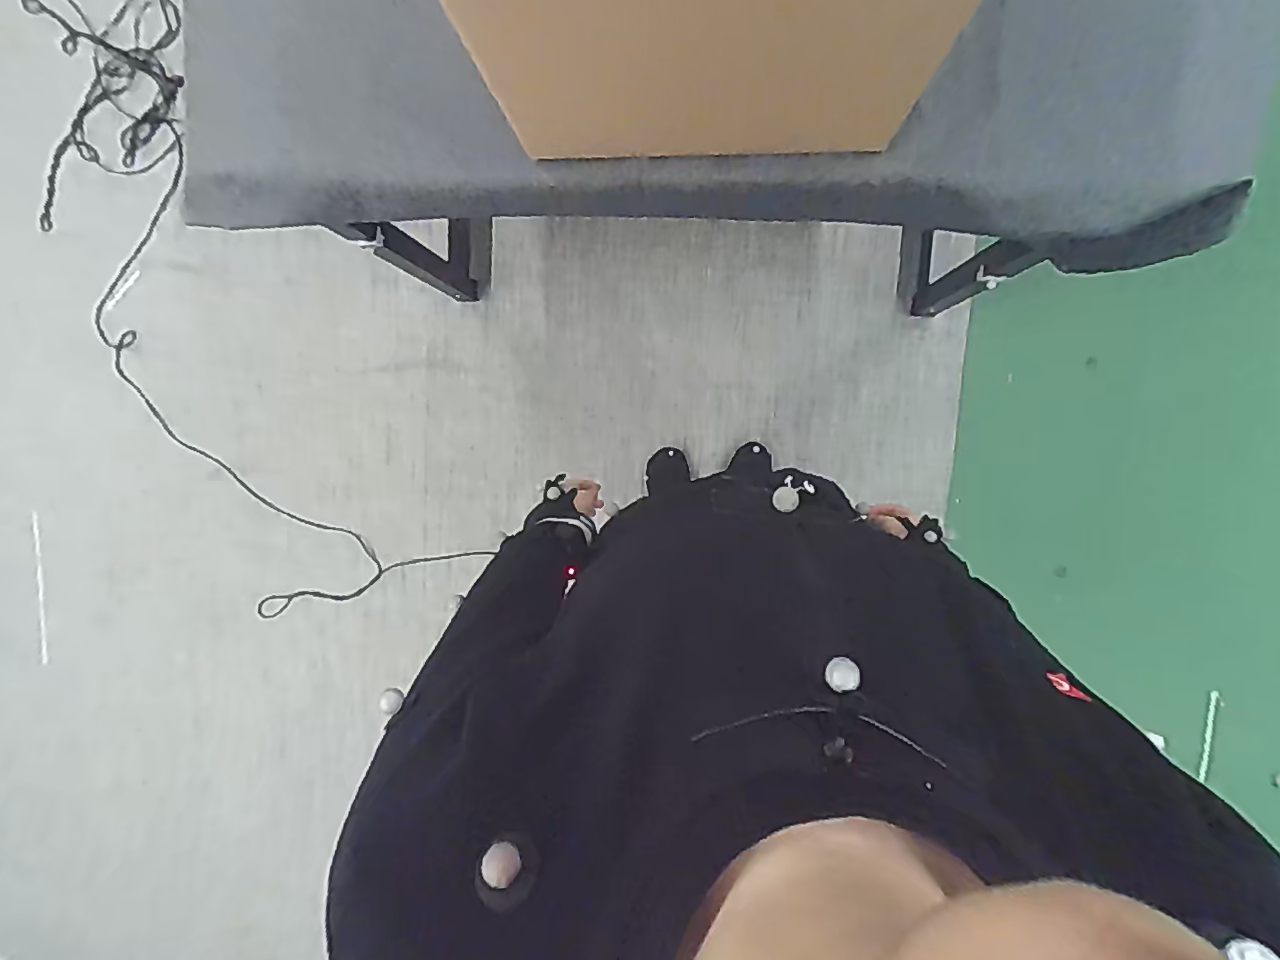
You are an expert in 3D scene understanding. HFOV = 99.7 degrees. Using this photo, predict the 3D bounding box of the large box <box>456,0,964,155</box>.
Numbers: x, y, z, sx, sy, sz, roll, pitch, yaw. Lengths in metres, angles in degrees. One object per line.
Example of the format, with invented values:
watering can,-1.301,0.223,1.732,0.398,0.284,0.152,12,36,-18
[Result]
large box,0.057,-0.518,0.456,0.408,0.320,0.320,1,94,5
